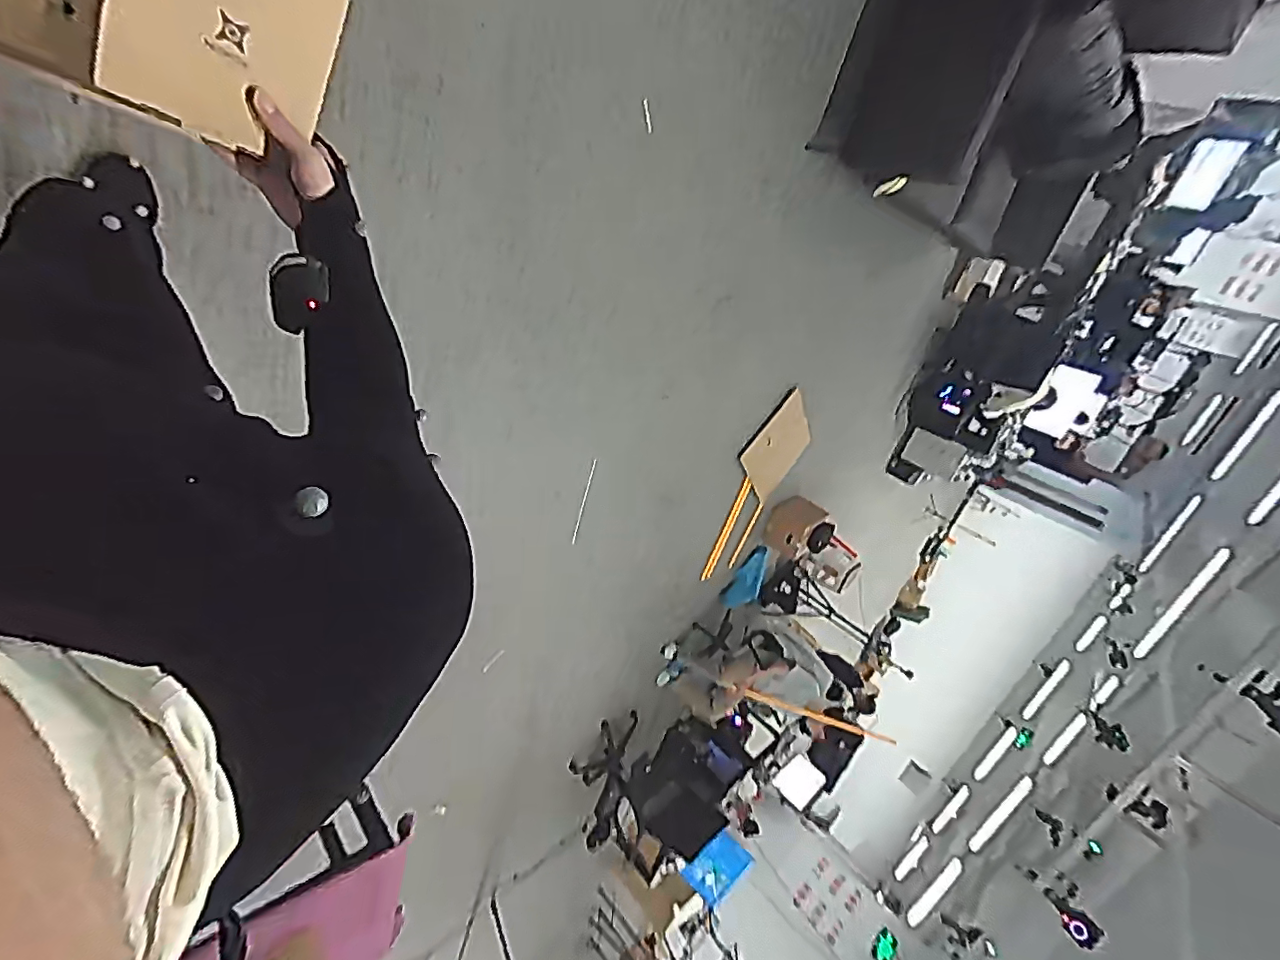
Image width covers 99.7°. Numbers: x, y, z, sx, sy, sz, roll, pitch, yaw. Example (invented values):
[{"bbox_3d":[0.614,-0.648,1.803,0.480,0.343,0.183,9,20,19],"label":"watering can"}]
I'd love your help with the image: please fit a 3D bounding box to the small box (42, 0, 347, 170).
[{"bbox_3d":[-0.418,-0.439,0.508,0.168,0.176,0.179,-1,125,-59],"label":"small box"}]
